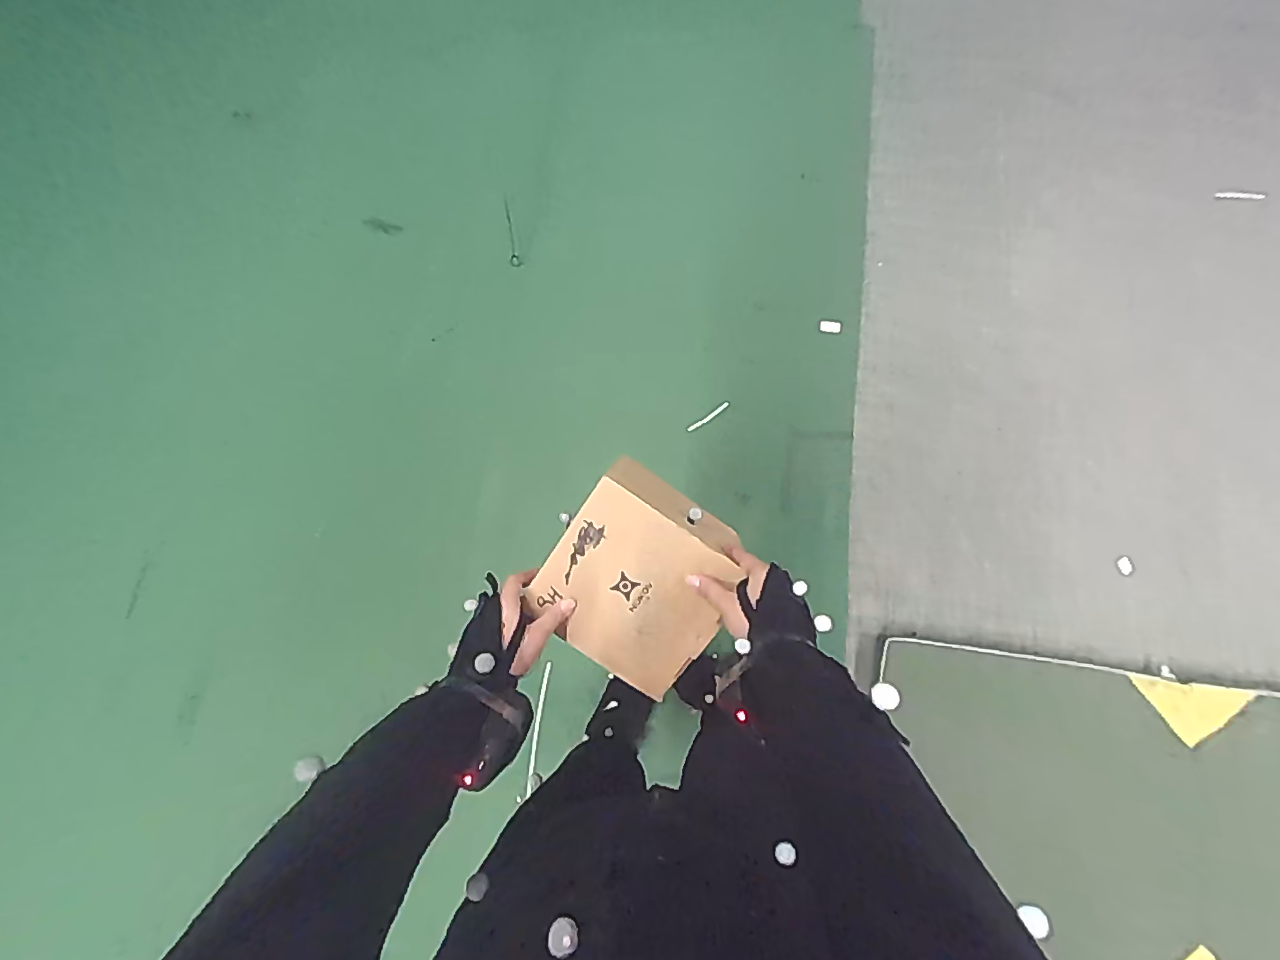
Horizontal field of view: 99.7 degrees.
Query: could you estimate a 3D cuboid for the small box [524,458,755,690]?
[{"bbox_3d":[0.004,0.090,0.613,0.179,0.176,0.168,34,100,-1],"label":"small box"}]
